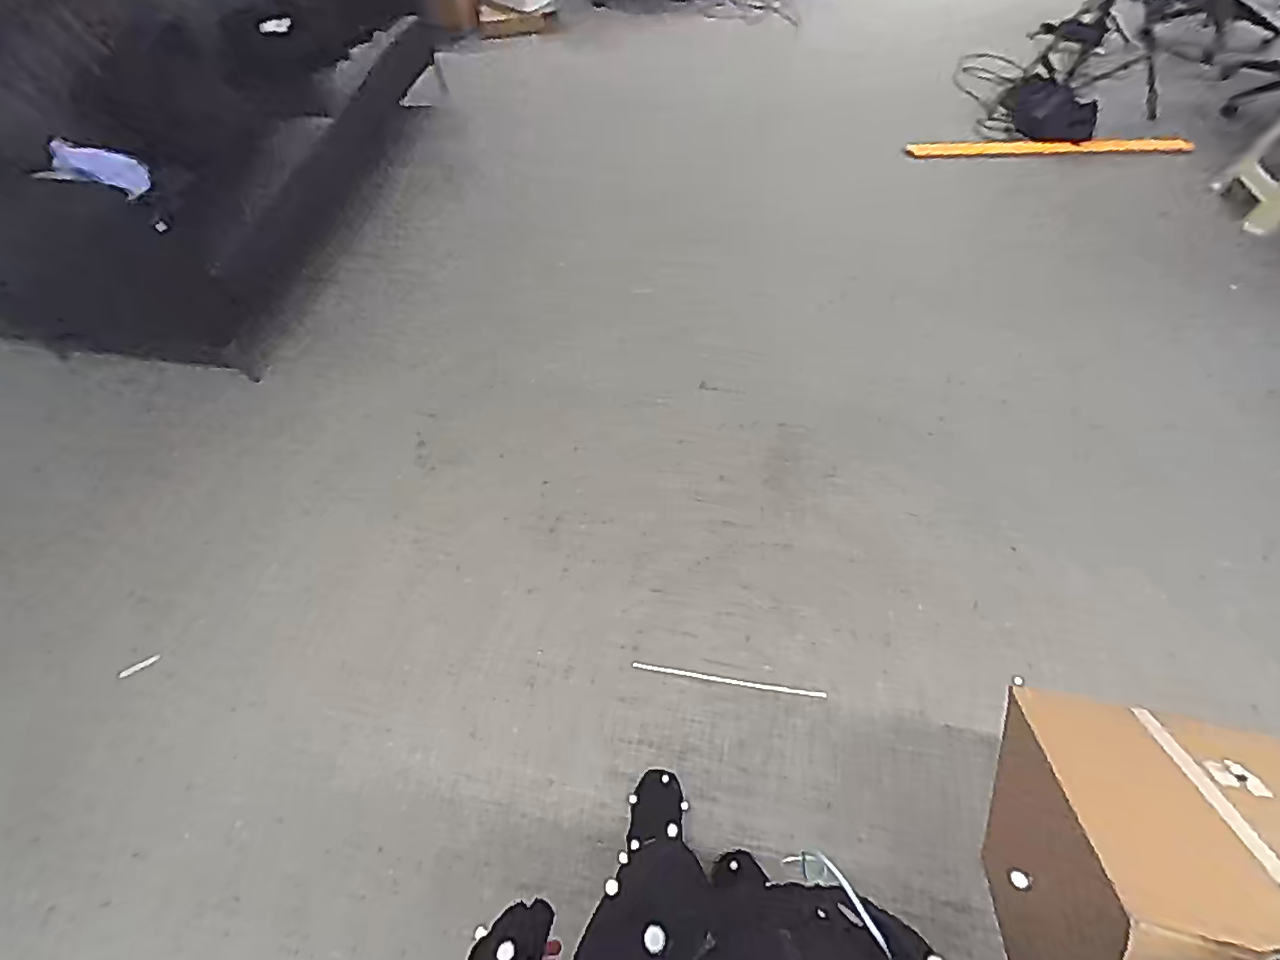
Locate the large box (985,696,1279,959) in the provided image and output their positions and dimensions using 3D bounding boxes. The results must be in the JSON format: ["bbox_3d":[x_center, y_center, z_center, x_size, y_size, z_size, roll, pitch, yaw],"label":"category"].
[{"bbox_3d":[0.644,0.528,0.634,0.320,0.408,0.320,7,102,20],"label":"large box"}]
